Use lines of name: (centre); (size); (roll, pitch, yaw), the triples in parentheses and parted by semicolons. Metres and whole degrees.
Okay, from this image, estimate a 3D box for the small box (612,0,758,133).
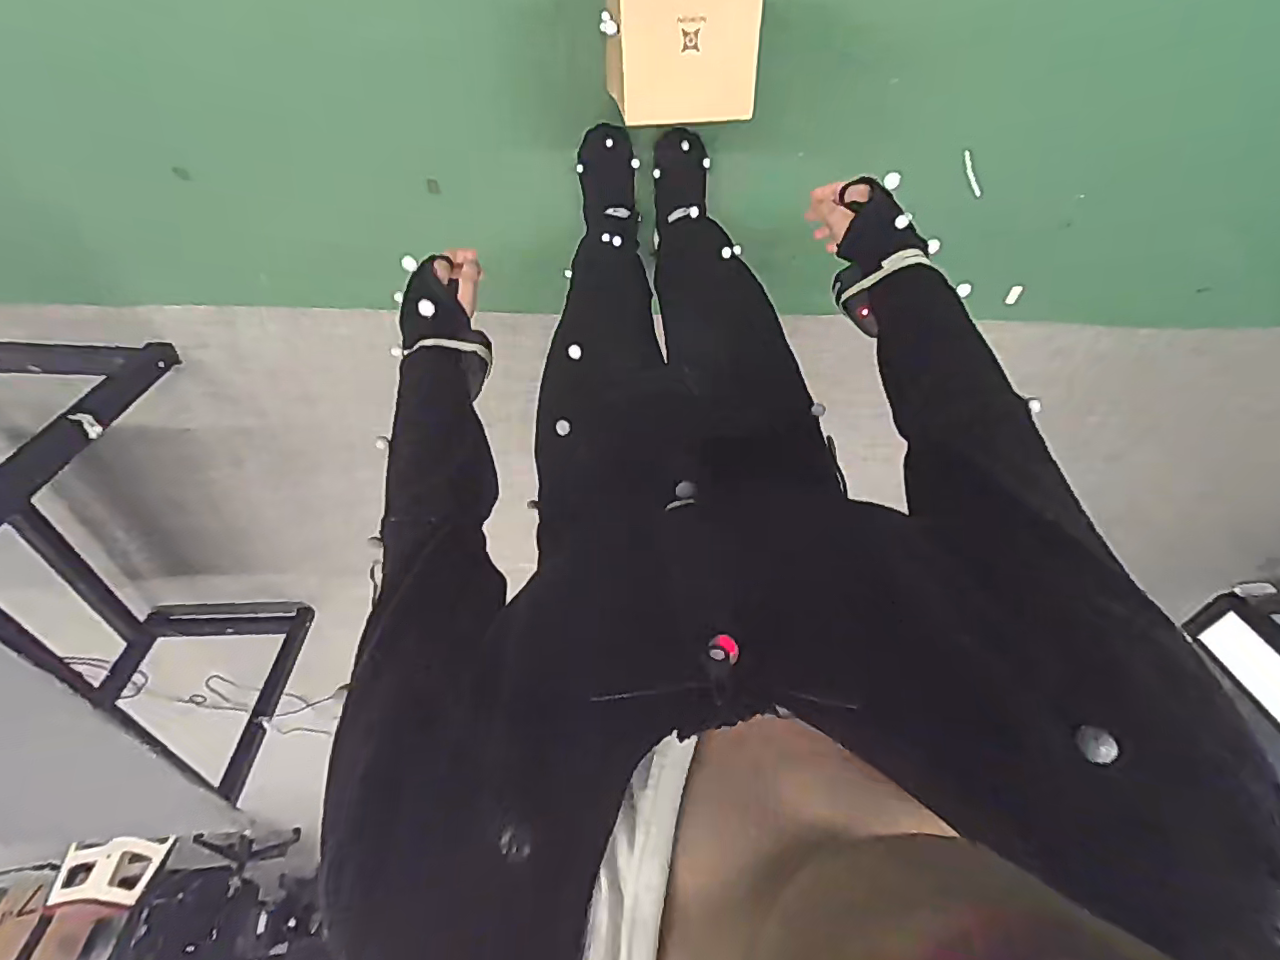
small box: (0.050, -0.569, 0.700); (0.168, 0.176, 0.179); (-4, 131, -2)
